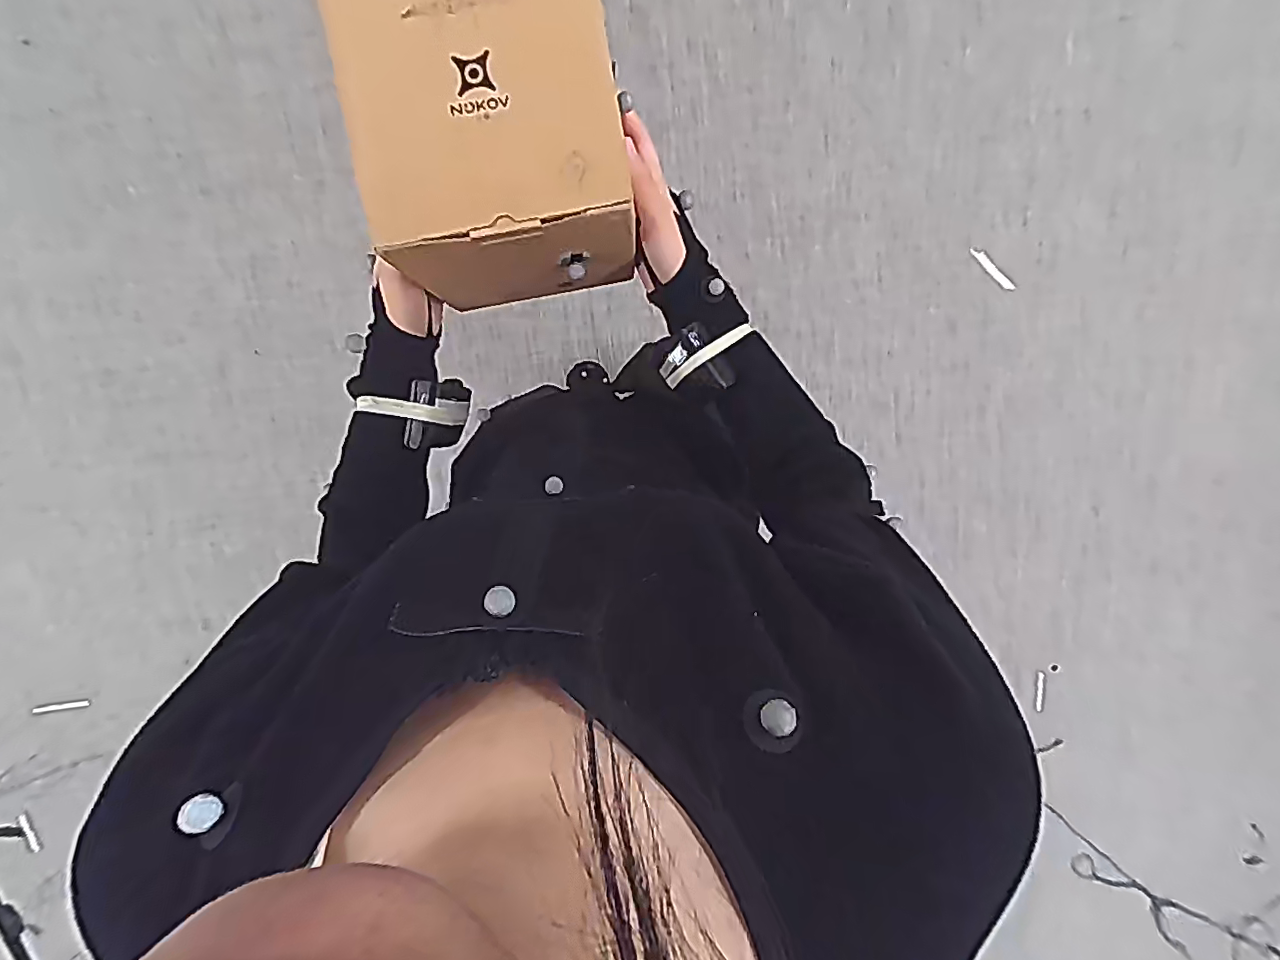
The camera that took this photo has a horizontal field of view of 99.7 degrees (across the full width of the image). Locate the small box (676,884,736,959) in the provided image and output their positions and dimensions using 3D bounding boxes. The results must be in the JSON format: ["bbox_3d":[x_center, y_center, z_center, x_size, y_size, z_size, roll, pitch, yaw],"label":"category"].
[{"bbox_3d":[0.211,1.463,1.754,0.168,0.176,0.179,-5,104,-3],"label":"small box"}]

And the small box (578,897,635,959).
[{"bbox_3d":[-0.104,1.495,1.736,0.168,0.176,0.179,-8,102,-3],"label":"small box"}]
